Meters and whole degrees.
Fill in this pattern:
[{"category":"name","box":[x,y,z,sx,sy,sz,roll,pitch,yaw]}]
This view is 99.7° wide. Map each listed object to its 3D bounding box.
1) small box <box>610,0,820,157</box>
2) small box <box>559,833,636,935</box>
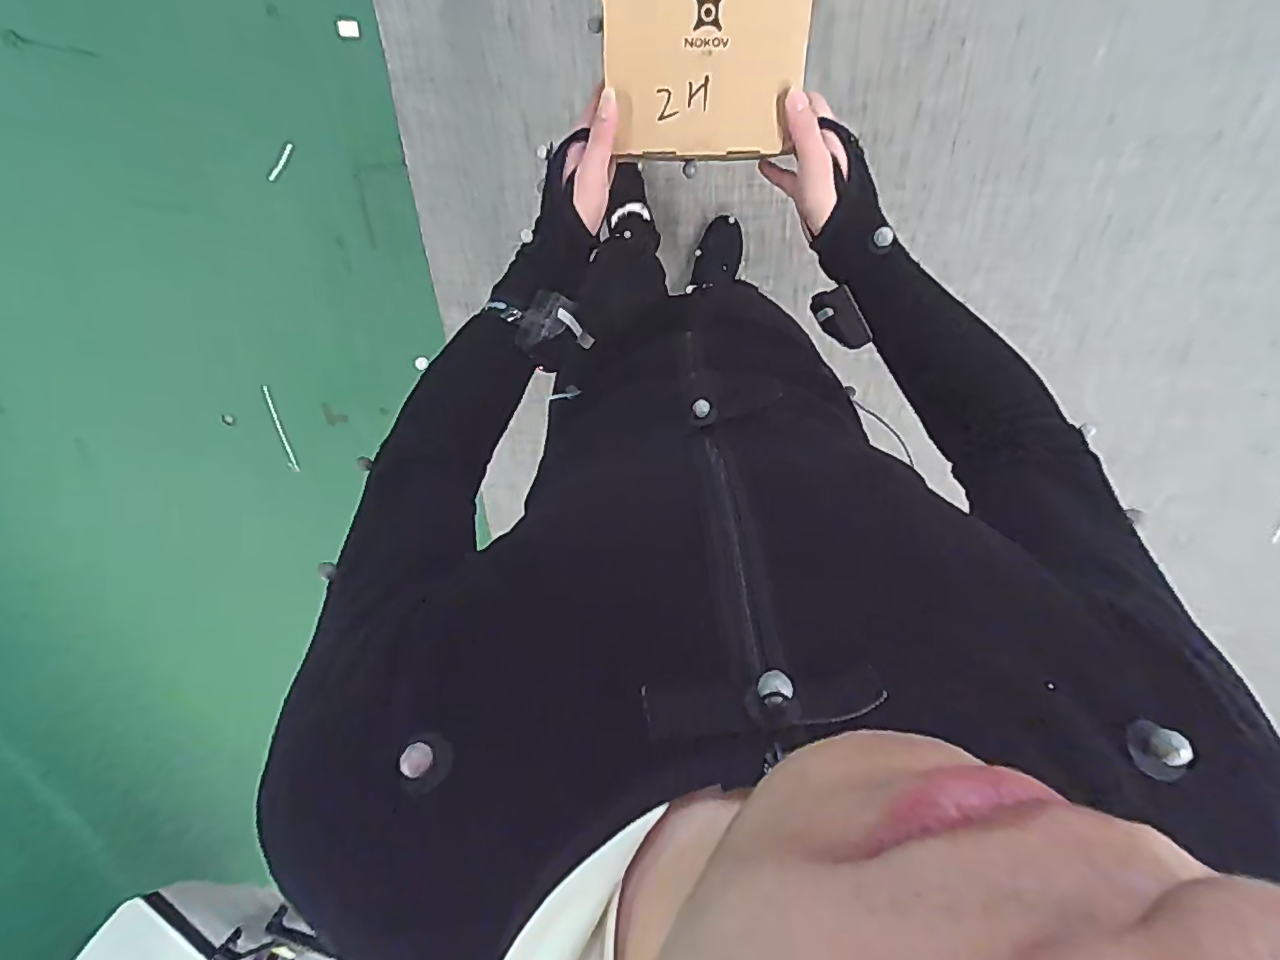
[{"category":"small box","box":[0.057,-0.400,0.491,0.168,0.176,0.179,0,119,0]},{"category":"small box","box":[-0.110,1.094,1.473,0.179,0.176,0.168,-1,120,6]}]
